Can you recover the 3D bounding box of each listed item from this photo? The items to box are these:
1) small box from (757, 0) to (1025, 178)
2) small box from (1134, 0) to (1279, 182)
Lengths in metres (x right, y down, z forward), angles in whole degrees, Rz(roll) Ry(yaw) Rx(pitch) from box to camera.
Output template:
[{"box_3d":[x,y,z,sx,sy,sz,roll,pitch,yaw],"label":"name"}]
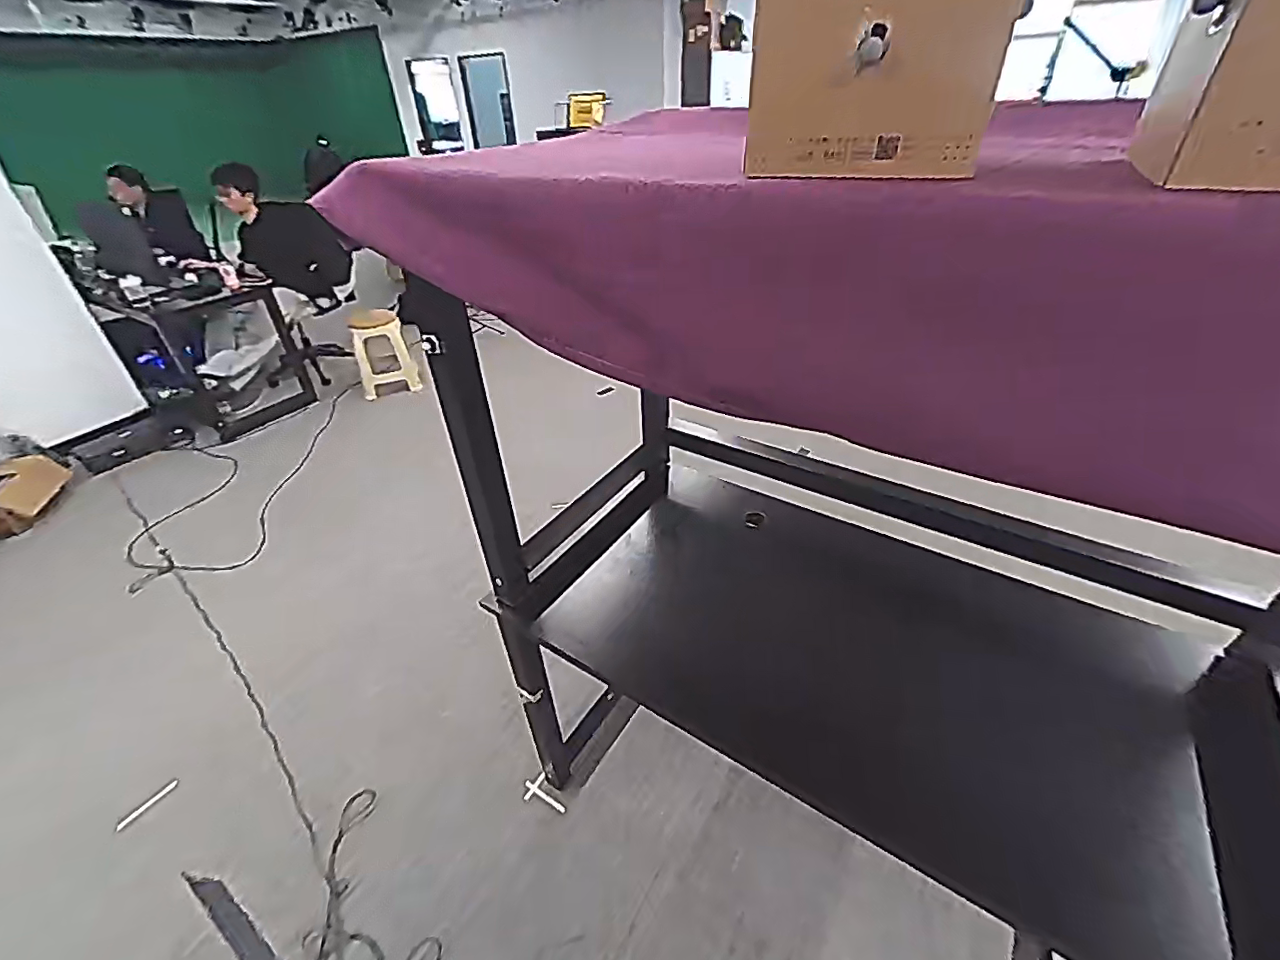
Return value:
[{"box_3d":[0.192,-0.338,0.419,0.168,0.176,0.179,12,38,20],"label":"small box"},{"box_3d":[0.422,-0.263,0.299,0.168,0.176,0.179,17,39,25],"label":"small box"}]
